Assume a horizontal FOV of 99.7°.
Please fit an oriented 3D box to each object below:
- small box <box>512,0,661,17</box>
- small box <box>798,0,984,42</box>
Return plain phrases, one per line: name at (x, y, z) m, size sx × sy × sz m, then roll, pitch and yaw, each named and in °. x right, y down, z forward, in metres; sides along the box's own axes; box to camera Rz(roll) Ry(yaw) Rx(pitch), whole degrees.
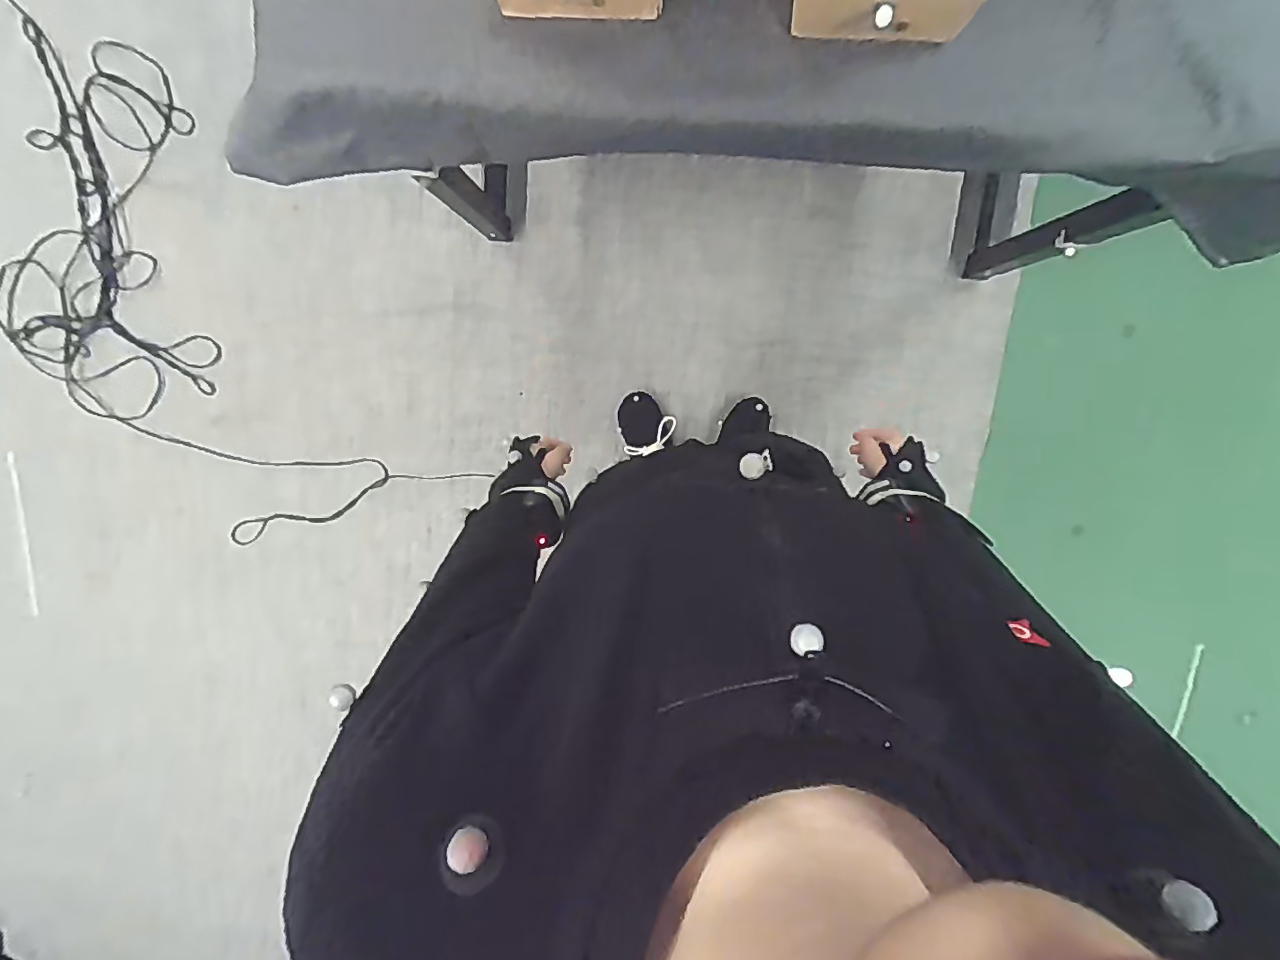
small box at (-0.058, -0.554, 0.464) m, size 0.168 × 0.176 × 0.179 m, roll 2°, pitch 100°, yaw 2°
small box at (0.240, -0.522, 0.455) m, size 0.168 × 0.176 × 0.179 m, roll 4°, pitch 100°, yaw 2°
